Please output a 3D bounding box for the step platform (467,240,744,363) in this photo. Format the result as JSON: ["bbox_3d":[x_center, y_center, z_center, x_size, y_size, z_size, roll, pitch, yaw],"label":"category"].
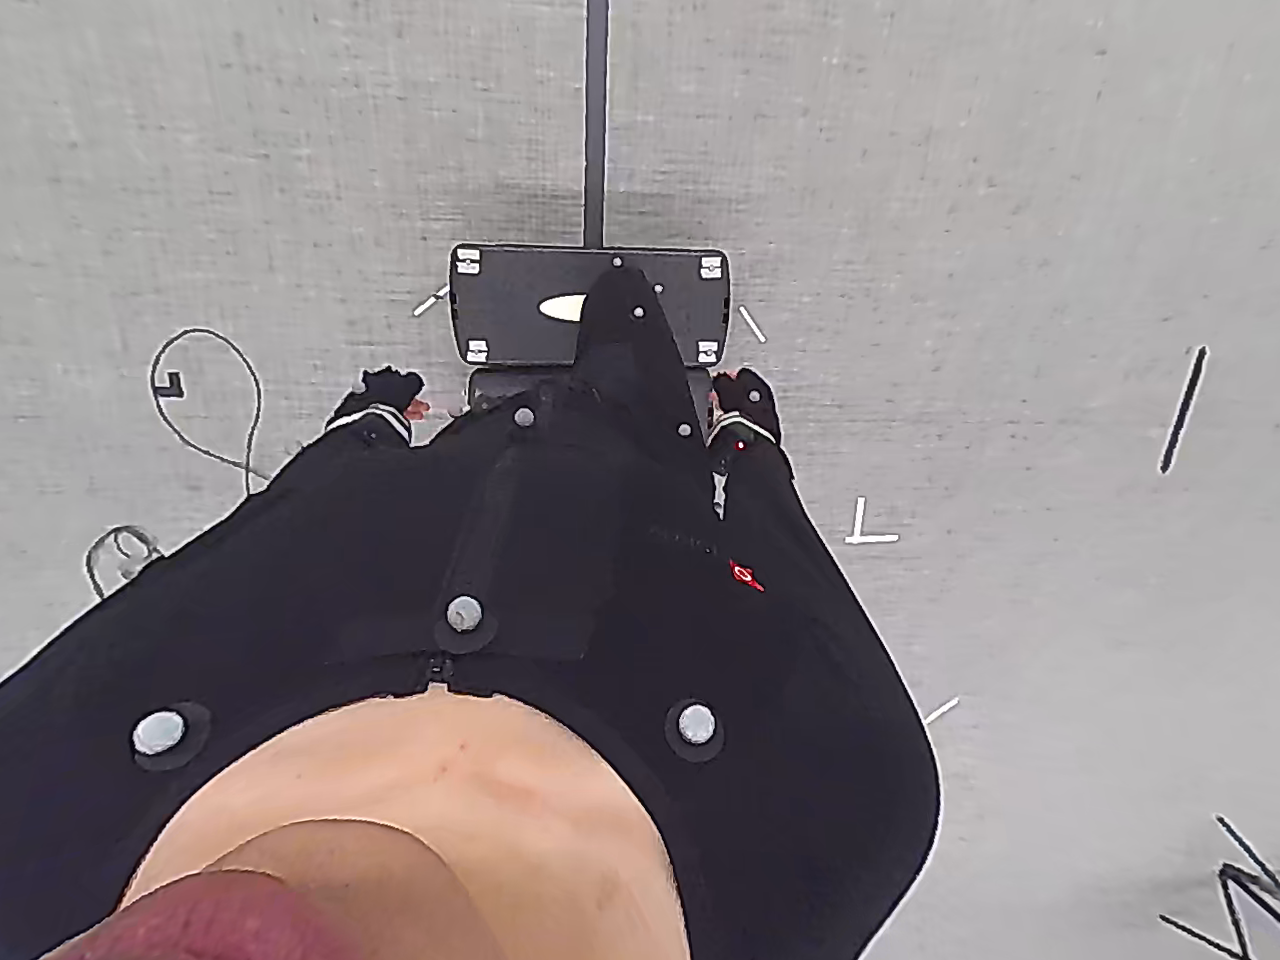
[{"bbox_3d":[-0.083,-0.450,1.375,0.684,0.204,0.286,-1,109,-5],"label":"step platform"}]
